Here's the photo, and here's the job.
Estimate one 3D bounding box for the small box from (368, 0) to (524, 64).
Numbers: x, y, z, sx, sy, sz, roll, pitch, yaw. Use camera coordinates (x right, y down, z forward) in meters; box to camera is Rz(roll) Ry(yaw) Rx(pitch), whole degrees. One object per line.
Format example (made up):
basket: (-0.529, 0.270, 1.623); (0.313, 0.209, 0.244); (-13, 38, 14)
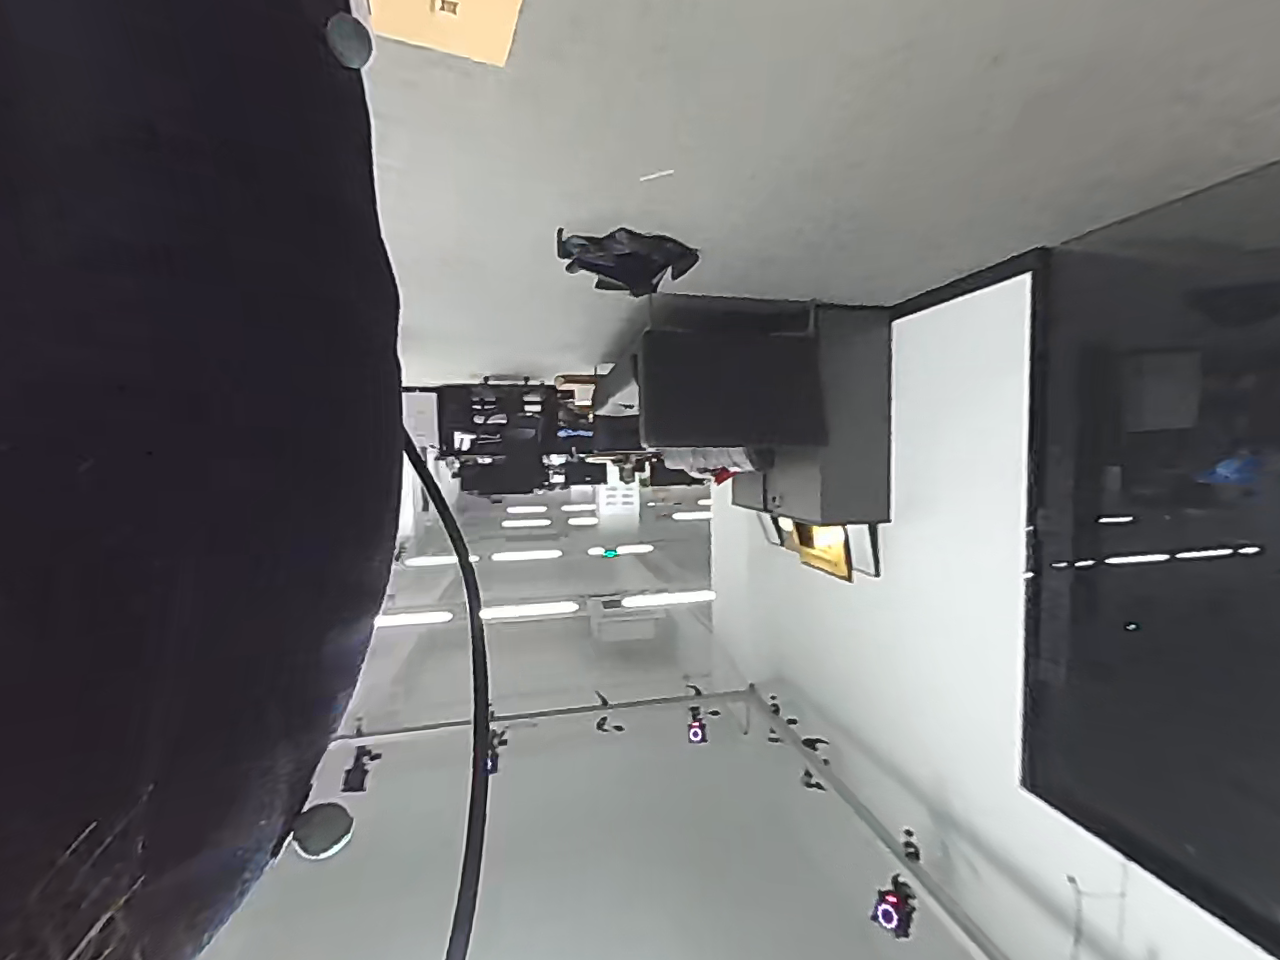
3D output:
small box: (-0.237, -0.658, 0.650); (0.179, 0.176, 0.168); (-3, -176, -23)
